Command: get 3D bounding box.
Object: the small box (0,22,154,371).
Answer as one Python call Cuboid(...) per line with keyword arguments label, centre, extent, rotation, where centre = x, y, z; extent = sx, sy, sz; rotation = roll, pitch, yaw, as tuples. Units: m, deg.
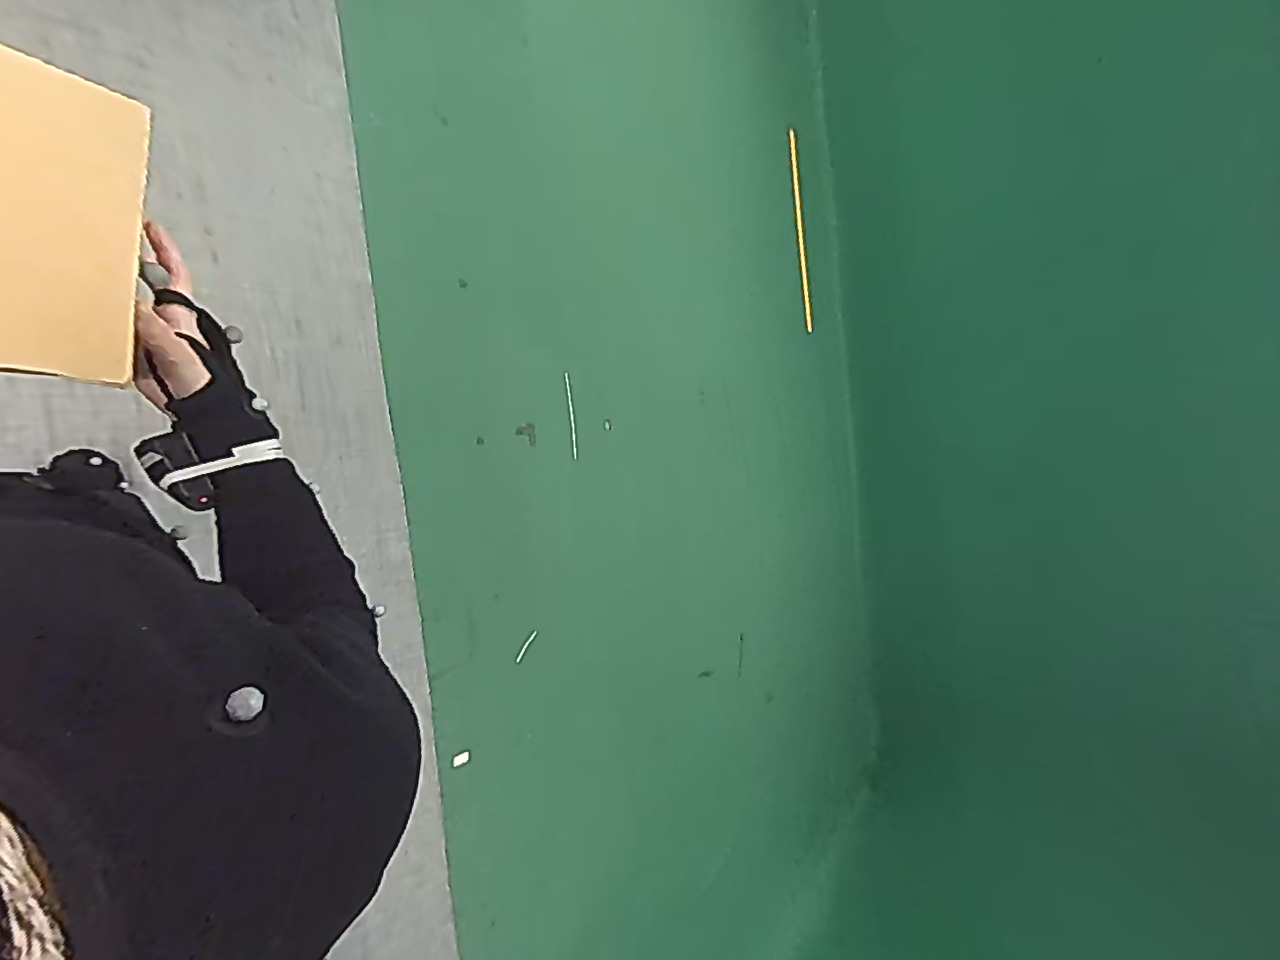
Cuboid(label="small box", centre=(-0.424, -0.171, 0.325), extent=(0.168, 0.176, 0.179), rotation=(4, 98, -50))
